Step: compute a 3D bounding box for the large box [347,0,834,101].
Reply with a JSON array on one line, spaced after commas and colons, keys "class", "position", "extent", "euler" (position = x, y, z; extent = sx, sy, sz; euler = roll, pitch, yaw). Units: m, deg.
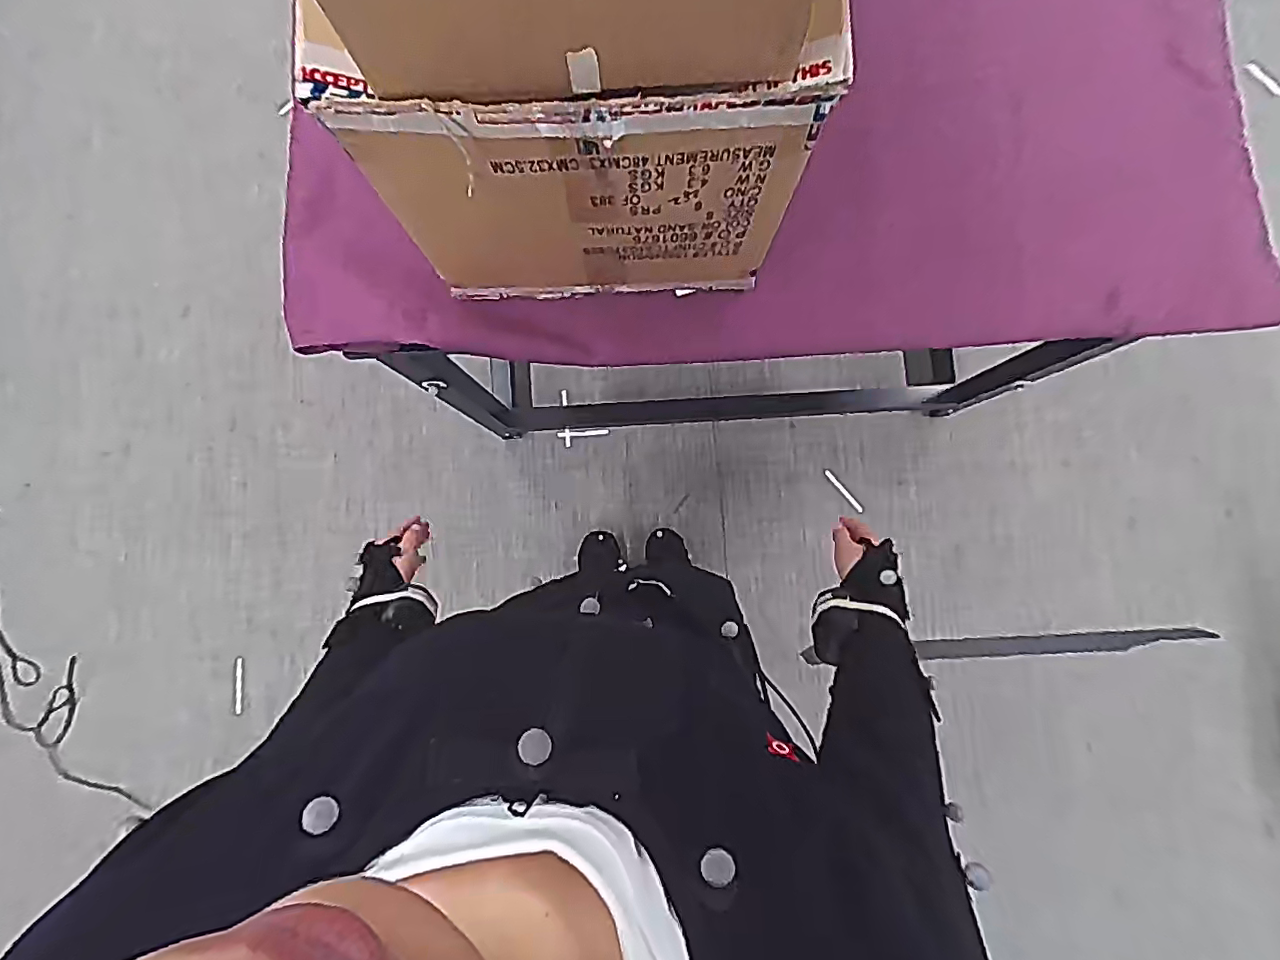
[{"class": "large box", "position": [-0.041, -0.495, 0.263], "extent": [0.320, 0.320, 0.408], "euler": [-4, 85, 1]}]
